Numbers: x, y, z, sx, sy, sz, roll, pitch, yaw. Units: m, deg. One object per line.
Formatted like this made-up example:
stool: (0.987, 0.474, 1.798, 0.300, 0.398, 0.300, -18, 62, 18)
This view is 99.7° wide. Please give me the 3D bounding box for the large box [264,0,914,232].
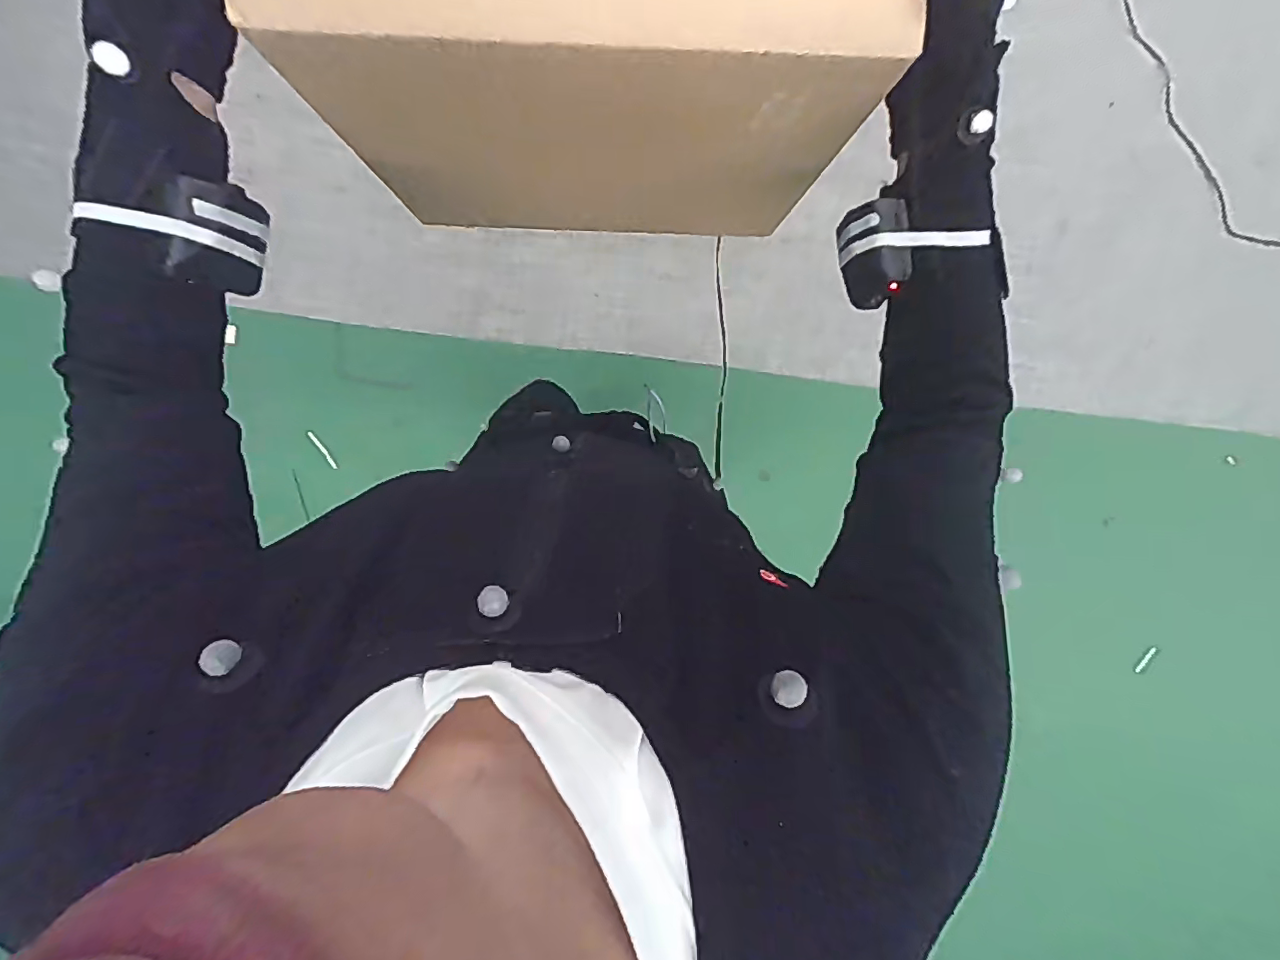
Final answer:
large box: (-0.037, -0.427, 0.467, 0.408, 0.320, 0.320, 0, 96, -4)
